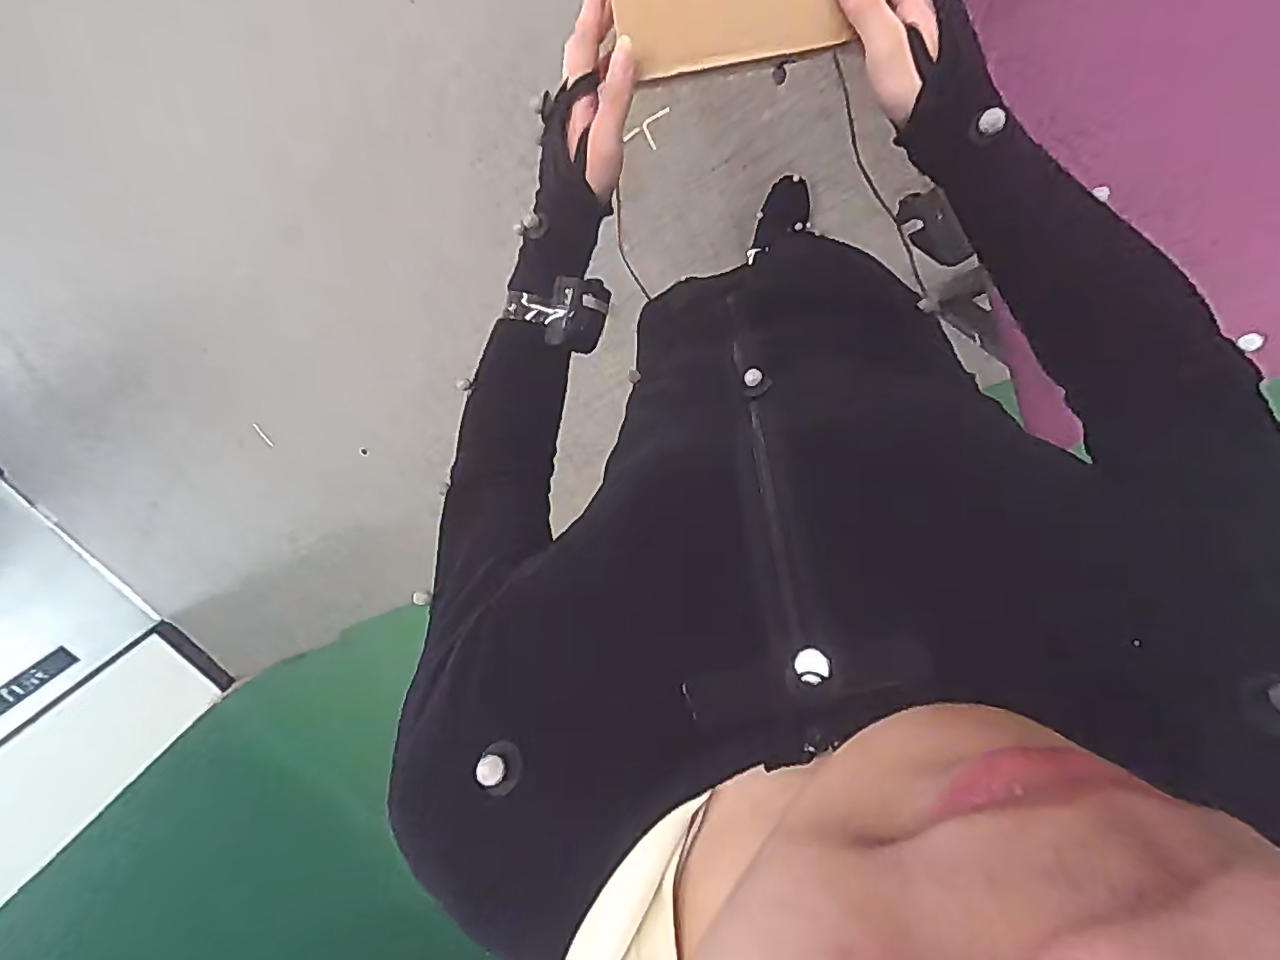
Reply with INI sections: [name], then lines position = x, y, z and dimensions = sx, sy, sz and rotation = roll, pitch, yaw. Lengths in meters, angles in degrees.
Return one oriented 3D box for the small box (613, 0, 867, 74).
[small box]
position = 0.062, -0.422, 0.405
dimensions = 0.179, 0.176, 0.168
rotation = -6, 123, 5
